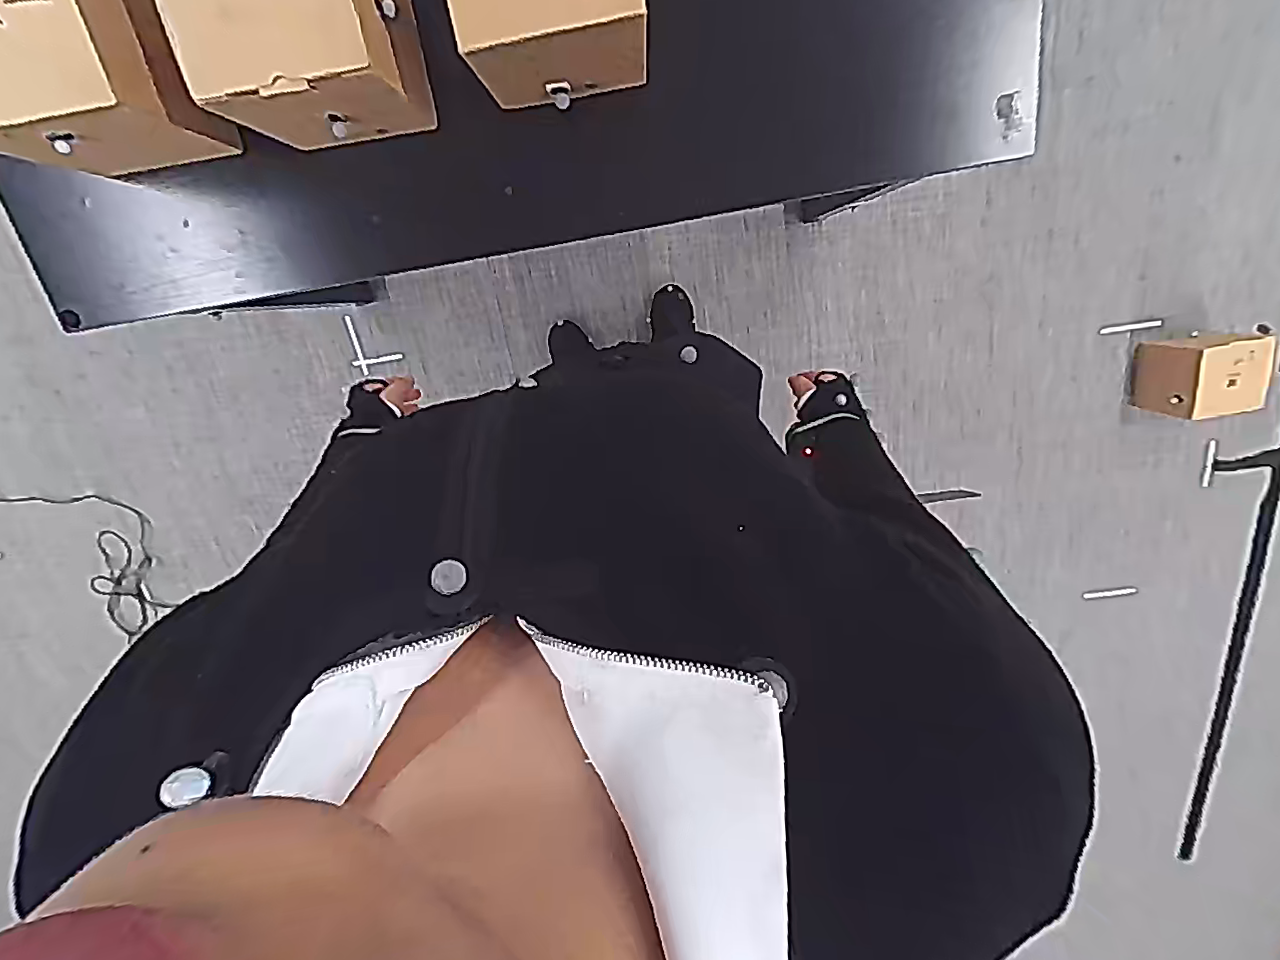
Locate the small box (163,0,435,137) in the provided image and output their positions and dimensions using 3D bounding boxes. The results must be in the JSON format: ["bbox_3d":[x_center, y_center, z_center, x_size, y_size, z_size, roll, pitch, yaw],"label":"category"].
[{"bbox_3d":[-0.320,-0.451,0.520,0.168,0.176,0.179,-7,110,3],"label":"small box"}]

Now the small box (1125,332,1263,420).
[{"bbox_3d":[1.381,-0.266,1.363,0.168,0.176,0.179,-10,109,3],"label":"small box"}]

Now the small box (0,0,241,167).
[{"bbox_3d":[-0.551,-0.423,0.527,0.179,0.176,0.168,-9,109,2],"label":"small box"}]

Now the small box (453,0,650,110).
[{"bbox_3d":[-0.085,-0.488,0.511,0.168,0.176,0.179,-9,110,4],"label":"small box"}]
